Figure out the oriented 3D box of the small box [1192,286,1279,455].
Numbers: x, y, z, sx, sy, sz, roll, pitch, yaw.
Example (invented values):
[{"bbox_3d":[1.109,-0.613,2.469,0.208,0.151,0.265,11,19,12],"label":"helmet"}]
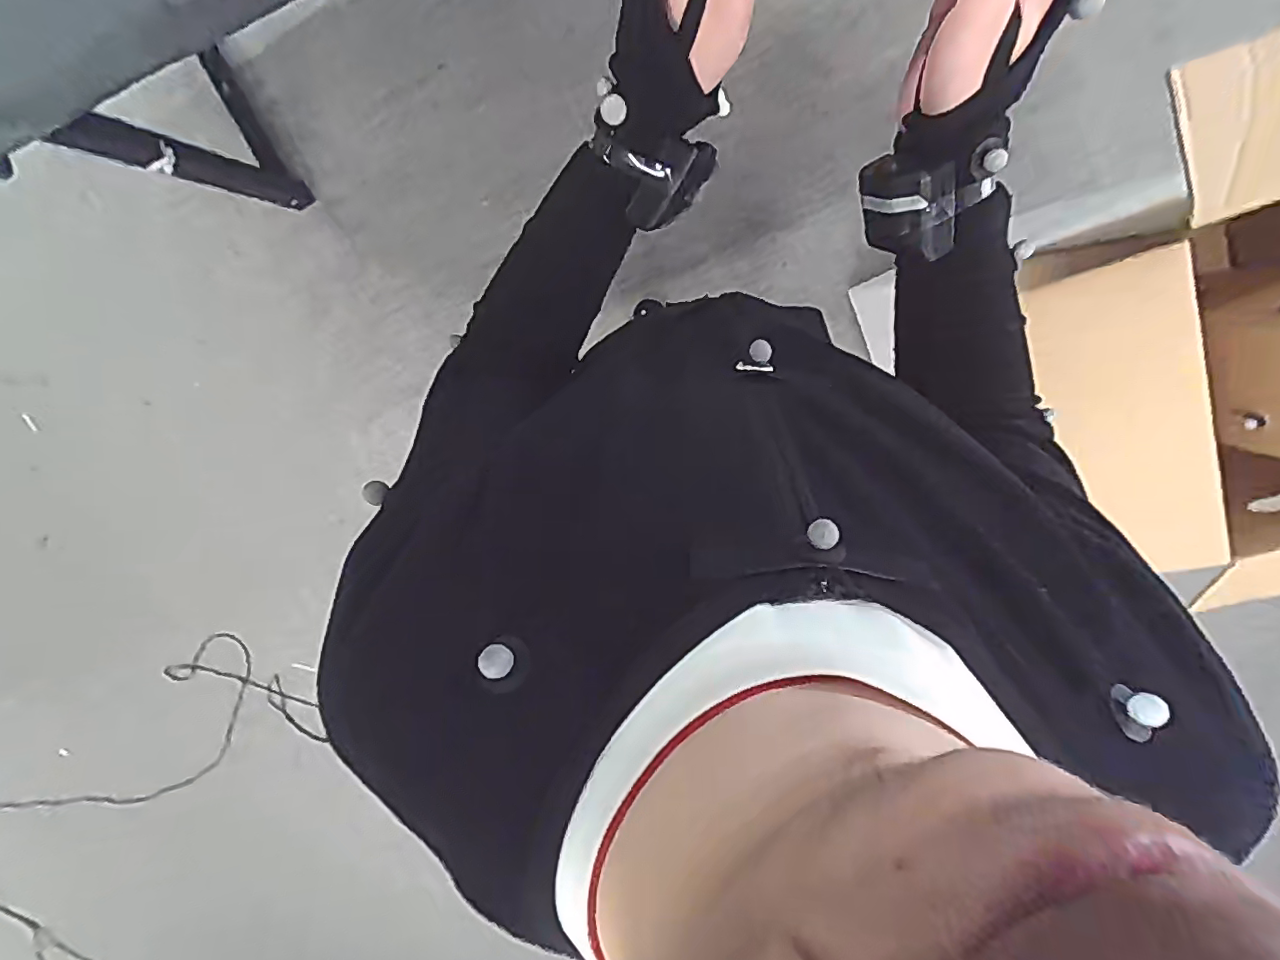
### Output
[{"bbox_3d":[0.792,-0.131,0.617,0.179,0.176,0.168,-25,108,8],"label":"small box"}]
